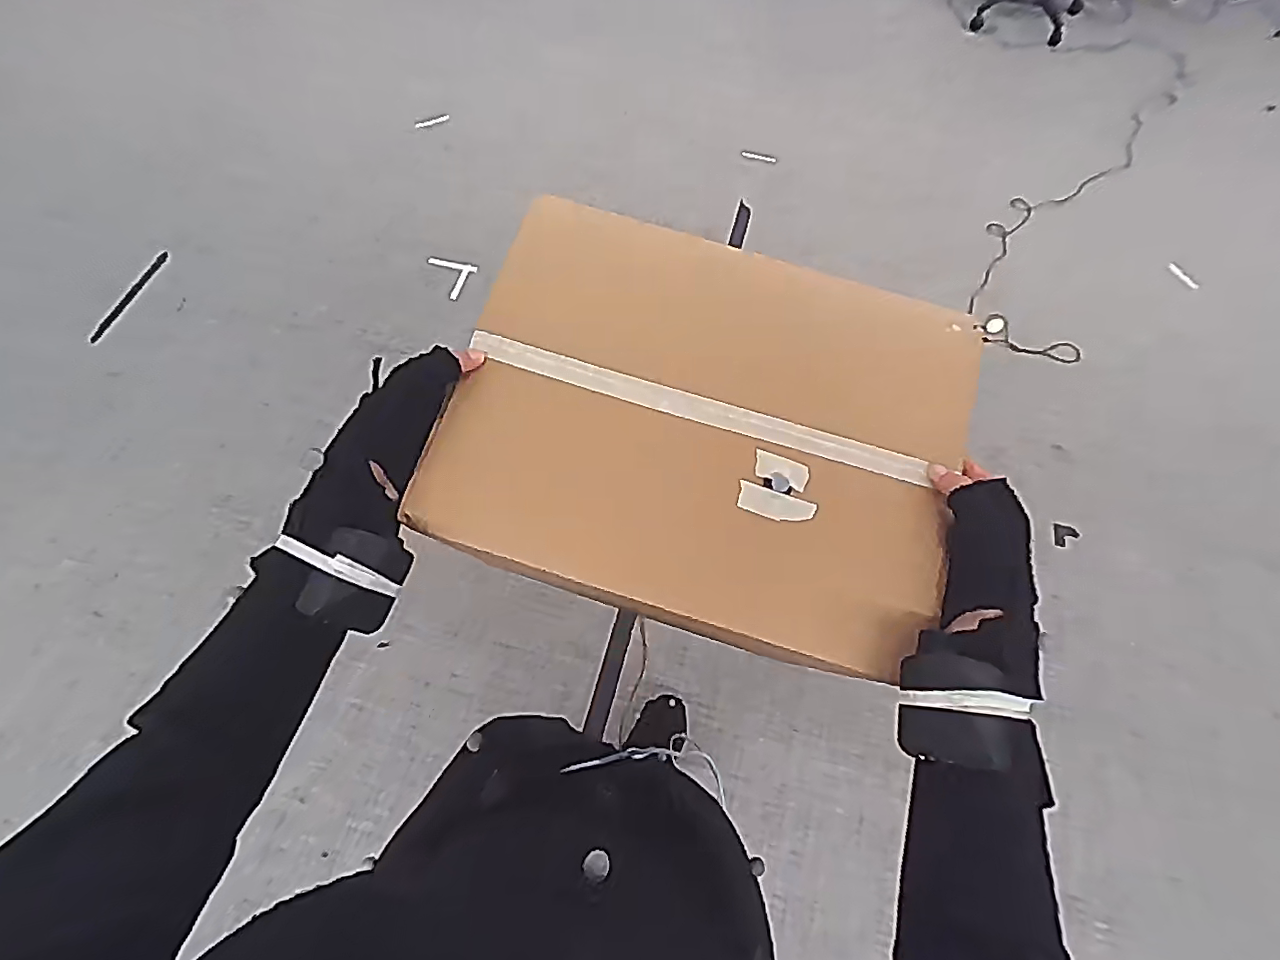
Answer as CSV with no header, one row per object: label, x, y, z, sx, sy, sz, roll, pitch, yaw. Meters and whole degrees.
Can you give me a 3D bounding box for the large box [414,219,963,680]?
large box,0.048,-0.007,0.589,0.408,0.320,0.320,17,76,2
